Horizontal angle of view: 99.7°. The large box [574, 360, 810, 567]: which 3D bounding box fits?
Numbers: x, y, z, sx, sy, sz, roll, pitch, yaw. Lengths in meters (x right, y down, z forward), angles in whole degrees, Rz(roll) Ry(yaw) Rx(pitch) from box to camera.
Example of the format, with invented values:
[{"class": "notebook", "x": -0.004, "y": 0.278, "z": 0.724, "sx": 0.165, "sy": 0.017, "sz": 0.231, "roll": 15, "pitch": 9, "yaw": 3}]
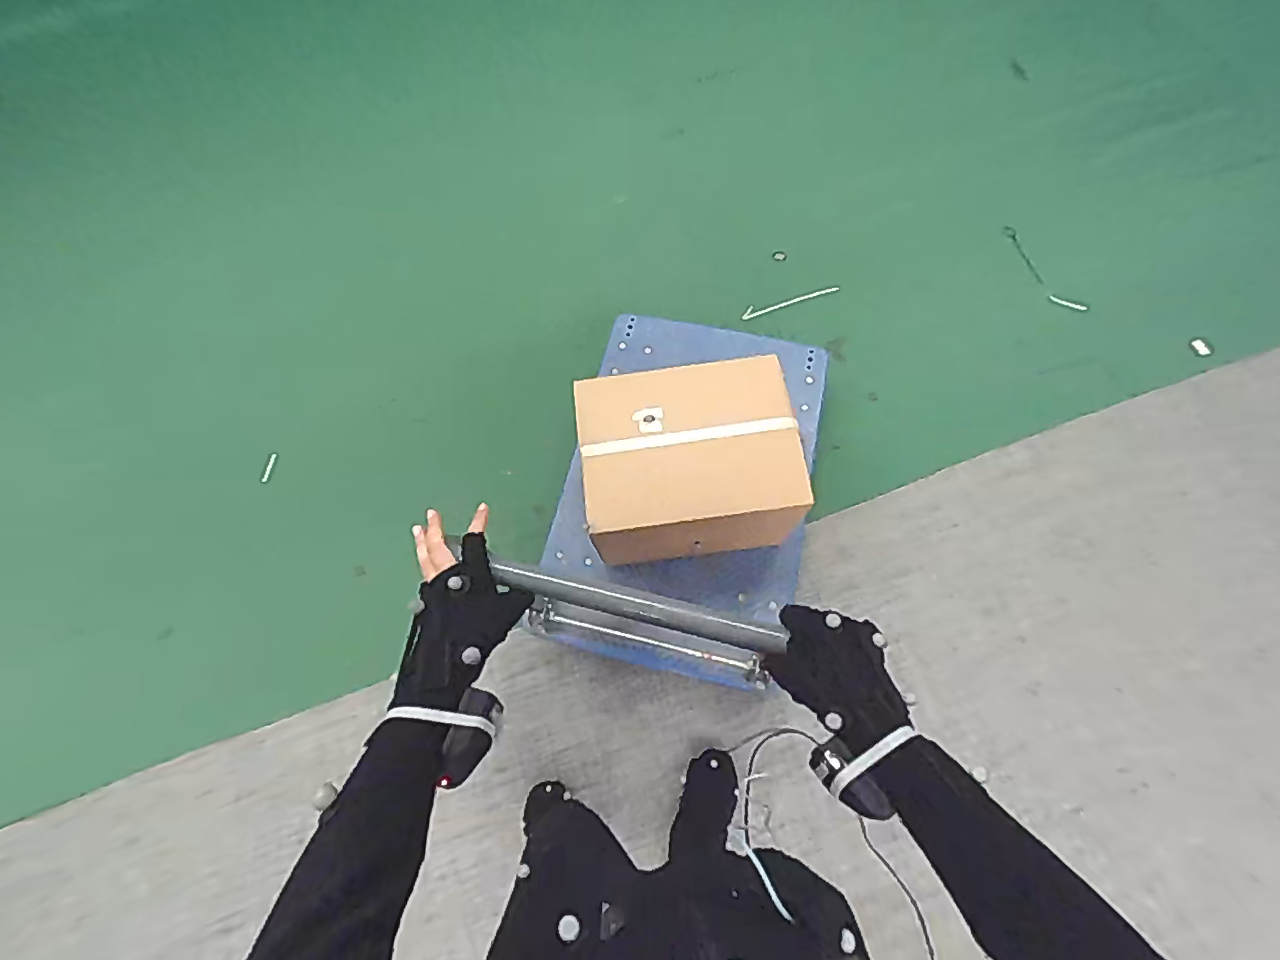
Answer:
[{"class": "large box", "x": 0.097, "y": -0.016, "z": 1.145, "sx": 0.408, "sy": 0.320, "sz": 0.320, "roll": -8, "pitch": 69, "yaw": 1}]
